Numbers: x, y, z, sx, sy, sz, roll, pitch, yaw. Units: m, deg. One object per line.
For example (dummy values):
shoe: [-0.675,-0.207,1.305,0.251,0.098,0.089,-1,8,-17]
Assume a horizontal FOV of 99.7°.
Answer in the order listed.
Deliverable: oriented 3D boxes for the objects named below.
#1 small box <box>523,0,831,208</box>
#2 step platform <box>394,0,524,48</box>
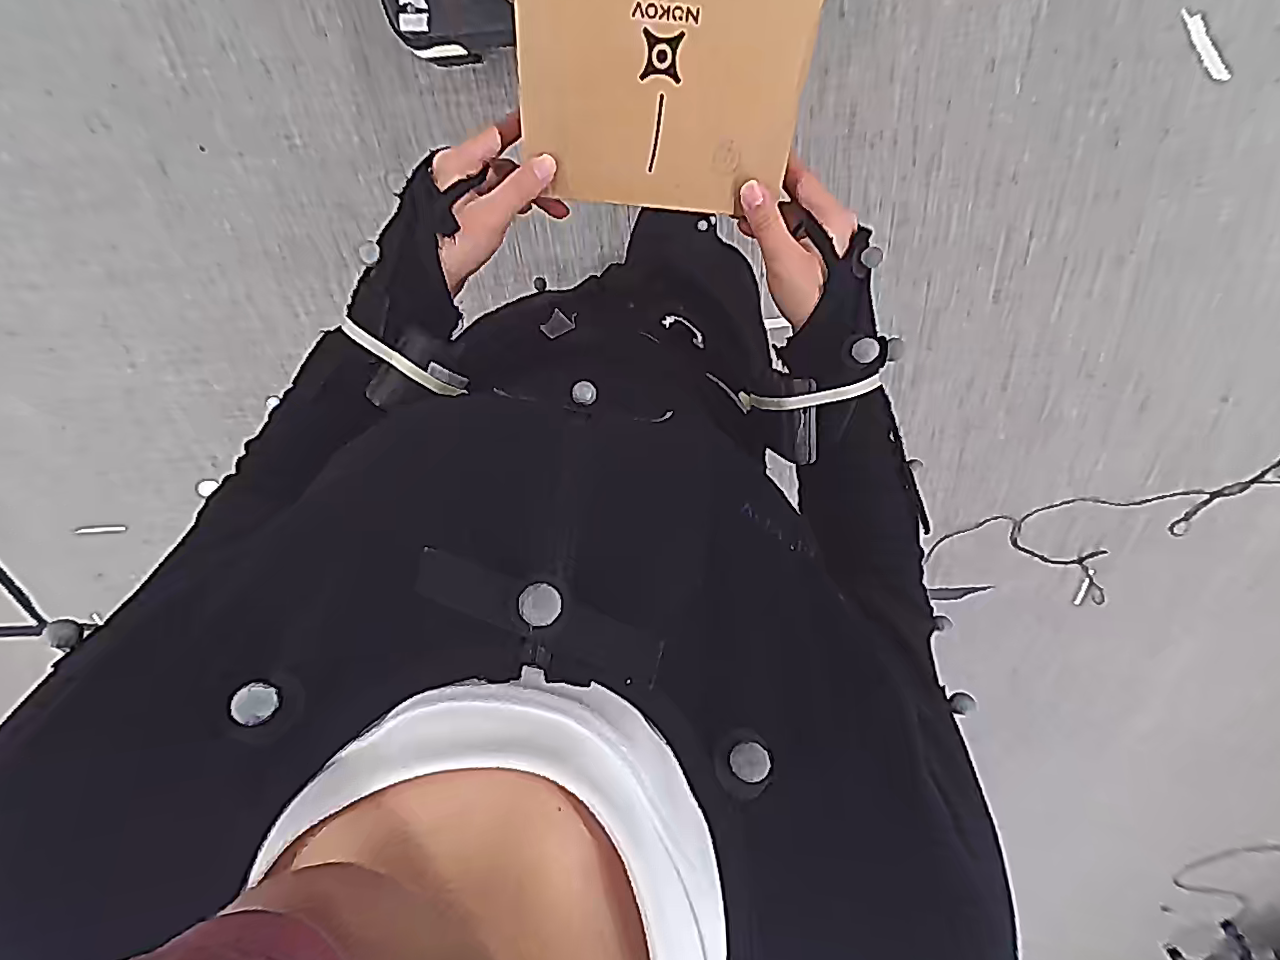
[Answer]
small box: [0.018,-0.300,0.352,0.168,0.176,0.179,4,131,-3]
step platform: [-0.067,-0.890,0.833,0.684,0.204,0.286,-3,120,4]
